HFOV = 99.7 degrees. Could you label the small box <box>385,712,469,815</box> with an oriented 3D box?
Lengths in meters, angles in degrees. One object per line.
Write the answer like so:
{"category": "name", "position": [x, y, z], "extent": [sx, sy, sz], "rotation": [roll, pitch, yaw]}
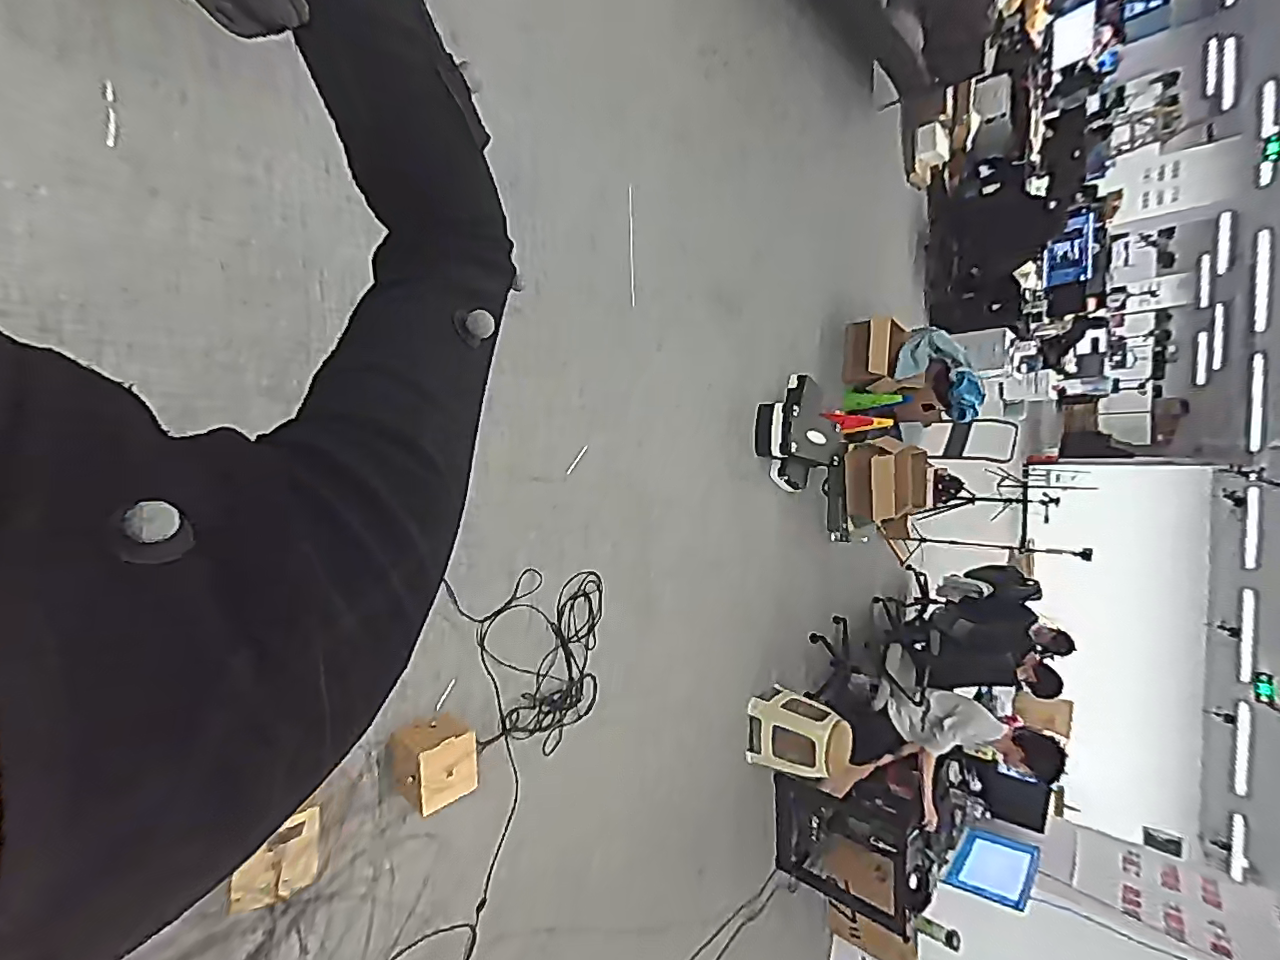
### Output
{"category": "small box", "position": [-0.601, 0.789, 1.523], "extent": [0.168, 0.176, 0.179], "rotation": [-5, 95, -48]}

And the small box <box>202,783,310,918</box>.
{"category": "small box", "position": [-0.868, 0.817, 1.222], "extent": [0.168, 0.176, 0.179], "rotation": [2, 90, -49]}
